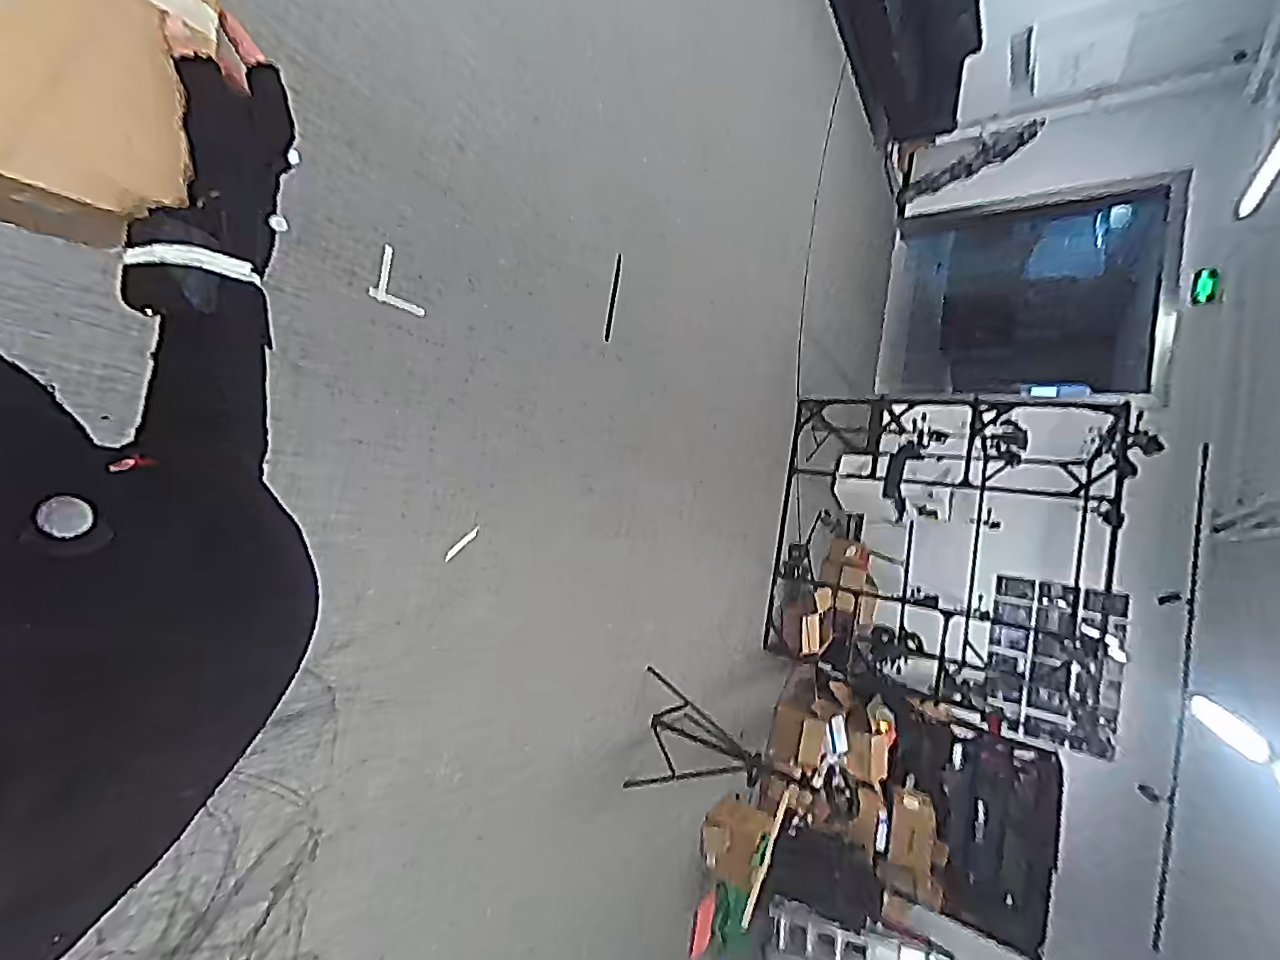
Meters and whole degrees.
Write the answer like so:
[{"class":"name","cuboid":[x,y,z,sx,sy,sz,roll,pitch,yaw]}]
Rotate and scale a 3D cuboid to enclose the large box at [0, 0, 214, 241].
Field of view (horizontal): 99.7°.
[{"class":"large box","cuboid":[-0.570,-0.390,0.345,0.408,0.320,0.320,6,98,-55]}]
